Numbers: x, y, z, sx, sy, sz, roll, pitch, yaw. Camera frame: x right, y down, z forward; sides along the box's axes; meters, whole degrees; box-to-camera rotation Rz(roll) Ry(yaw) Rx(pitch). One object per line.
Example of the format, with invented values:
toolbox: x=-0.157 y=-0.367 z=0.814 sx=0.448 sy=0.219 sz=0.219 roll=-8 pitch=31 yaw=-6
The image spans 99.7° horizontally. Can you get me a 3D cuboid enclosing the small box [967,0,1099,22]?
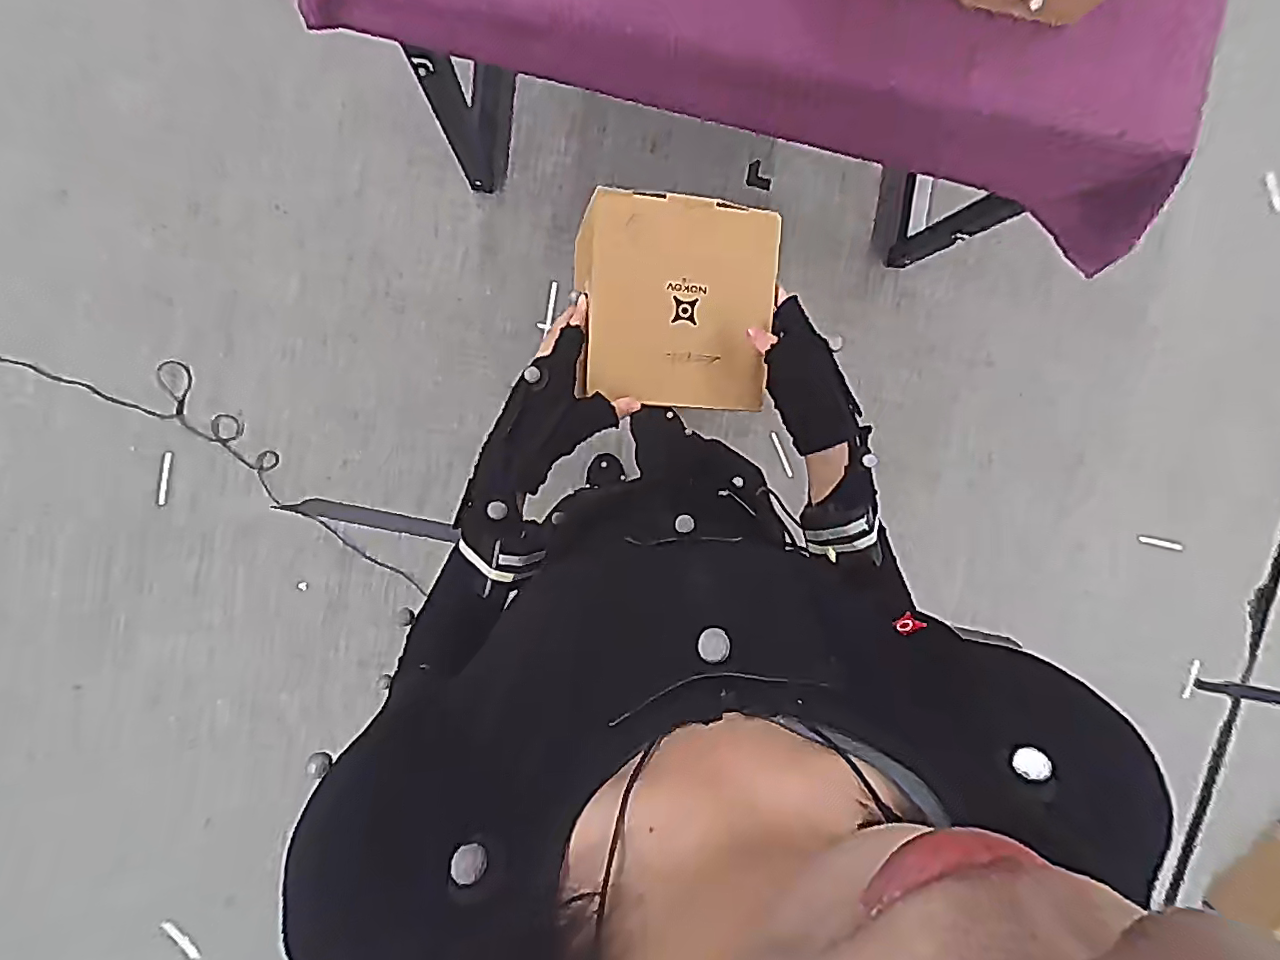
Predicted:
small box: x=0.538 y=-0.711 z=0.657 sx=0.179 sy=0.176 sz=0.168 roll=6 pitch=96 yaw=-7

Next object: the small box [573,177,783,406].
small box: x=0.023 y=-0.168 z=0.537 sx=0.168 sy=0.176 sz=0.179 roll=1 pitch=99 yaw=-12
